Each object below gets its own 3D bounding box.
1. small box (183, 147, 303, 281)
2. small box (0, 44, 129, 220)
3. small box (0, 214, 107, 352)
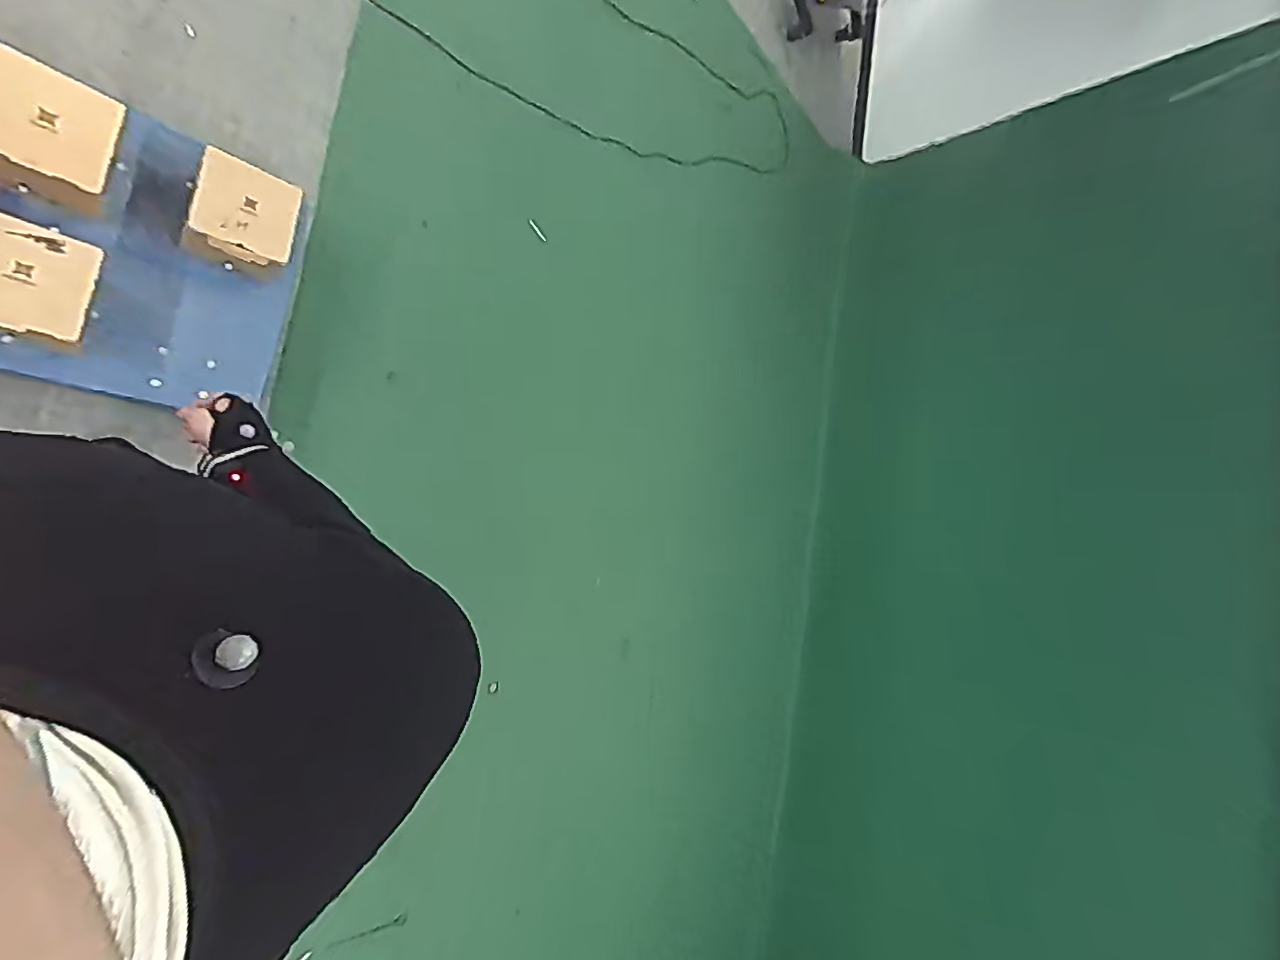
[{"bbox_3d":[-0.848,-0.553,1.152,0.168,0.176,0.179,14,82,-44],"label":"small box"},{"bbox_3d":[-1.043,-0.600,0.957,0.168,0.176,0.179,15,82,-45],"label":"small box"},{"bbox_3d":[-1.064,-0.336,0.941,0.168,0.176,0.179,16,80,-45],"label":"small box"}]
